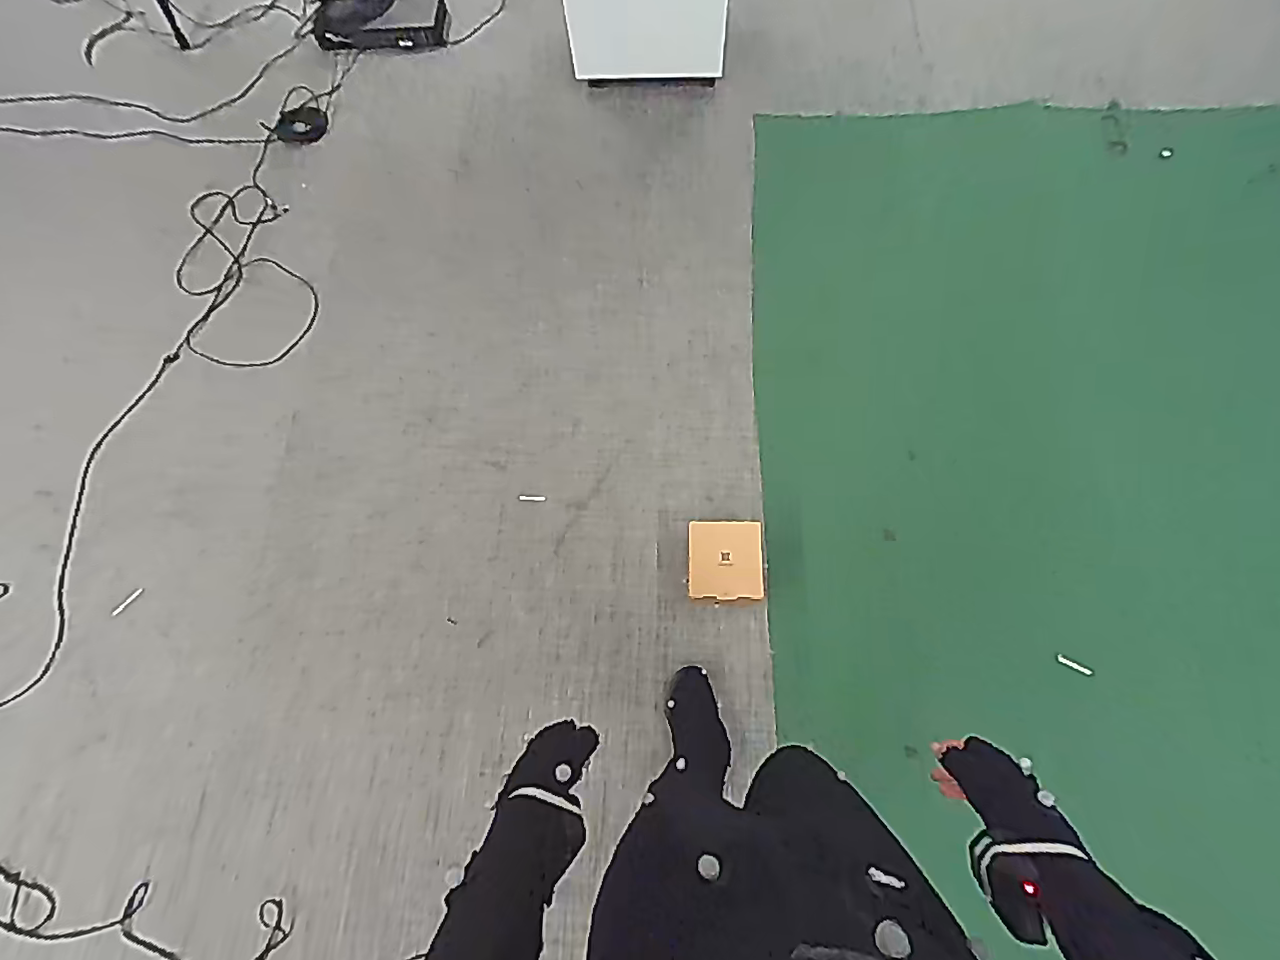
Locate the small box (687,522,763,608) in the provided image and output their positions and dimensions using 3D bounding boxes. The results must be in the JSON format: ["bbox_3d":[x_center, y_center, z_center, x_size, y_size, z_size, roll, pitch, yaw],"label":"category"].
[{"bbox_3d":[0.197,0.207,1.293,0.168,0.176,0.179,0,71,4],"label":"small box"}]
